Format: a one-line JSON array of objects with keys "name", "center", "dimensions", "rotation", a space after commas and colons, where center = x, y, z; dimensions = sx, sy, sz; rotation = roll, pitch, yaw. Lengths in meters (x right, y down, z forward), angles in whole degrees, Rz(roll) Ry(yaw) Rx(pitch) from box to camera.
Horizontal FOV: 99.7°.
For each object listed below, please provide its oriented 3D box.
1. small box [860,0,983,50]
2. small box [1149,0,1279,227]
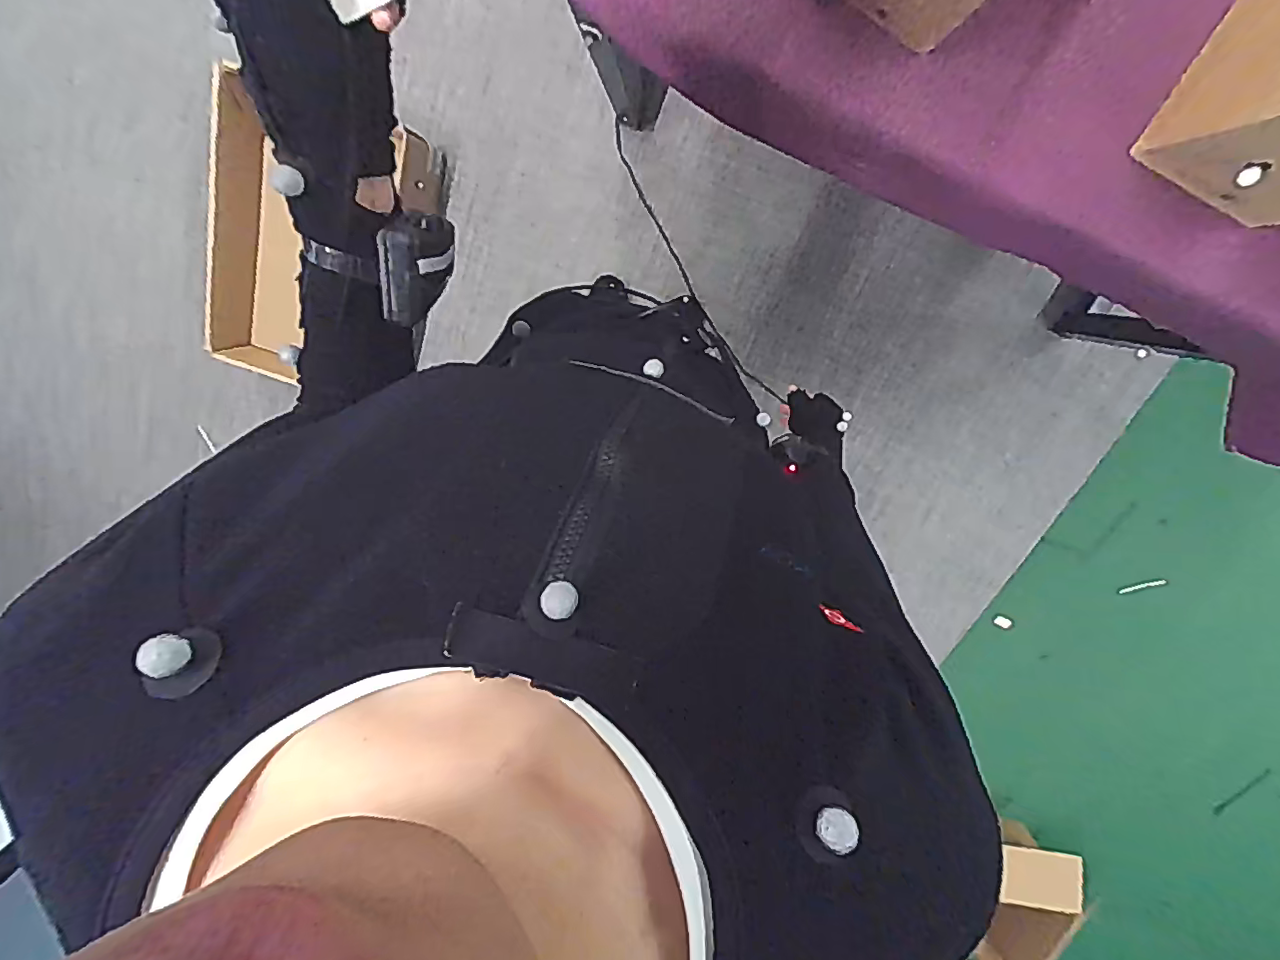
[{"name": "small box", "center": [0.258, -0.505, 0.436], "dimensions": [0.168, 0.176, 0.179], "rotation": [30, 109, -8]}, {"name": "small box", "center": [0.618, -0.344, 0.475], "dimensions": [0.168, 0.176, 0.179], "rotation": [26, 111, -6]}]
